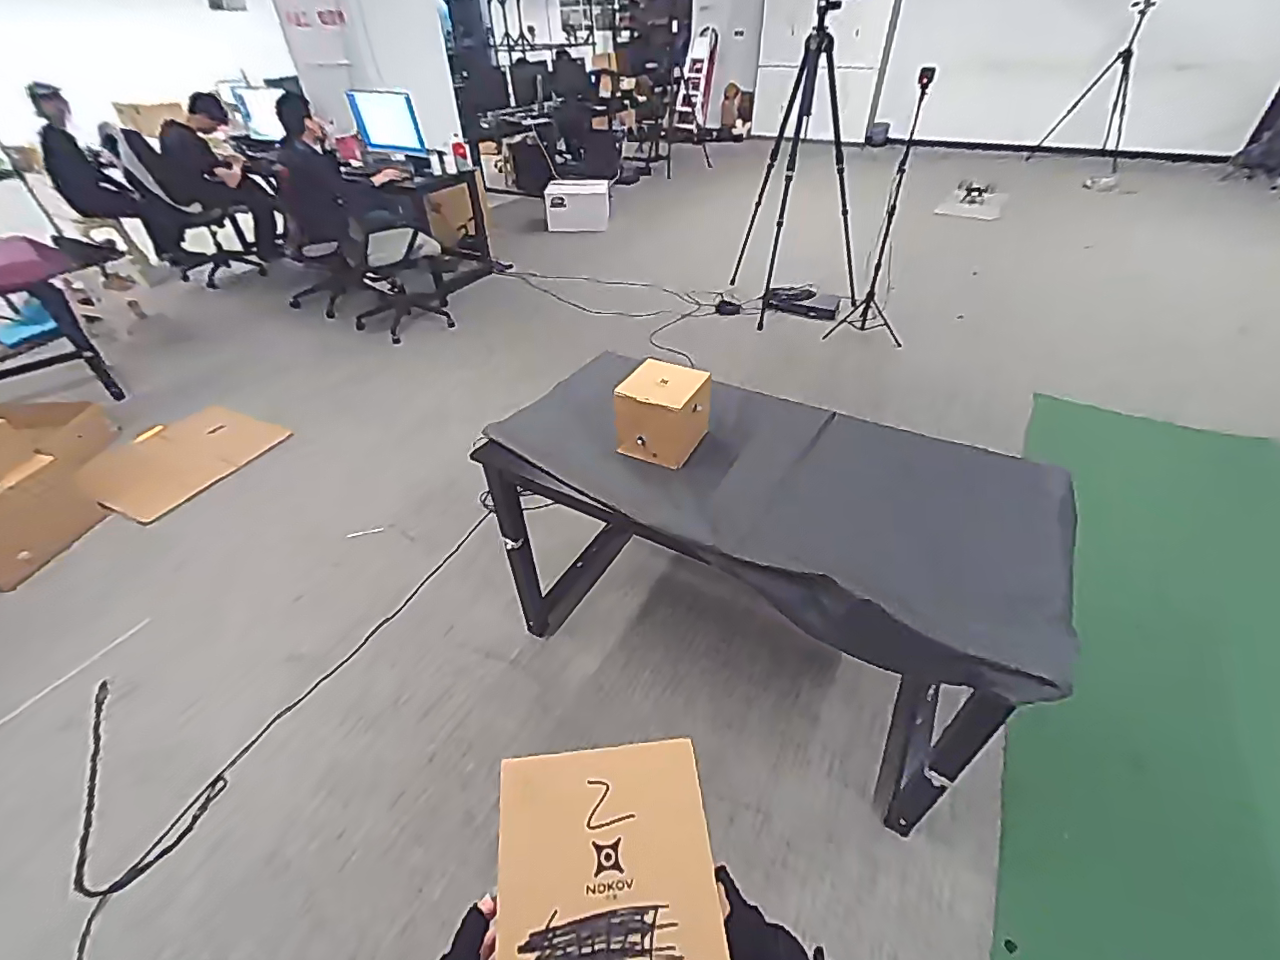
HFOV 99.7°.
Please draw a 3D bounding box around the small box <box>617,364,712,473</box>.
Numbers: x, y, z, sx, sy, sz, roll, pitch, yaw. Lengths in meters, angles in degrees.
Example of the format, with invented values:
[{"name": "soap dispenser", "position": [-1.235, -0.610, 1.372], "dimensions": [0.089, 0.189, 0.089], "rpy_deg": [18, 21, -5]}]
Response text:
[{"name": "small box", "position": [0.056, -0.146, 1.282], "dimensions": [0.168, 0.176, 0.179], "rpy_deg": [19, 44, 21]}]
